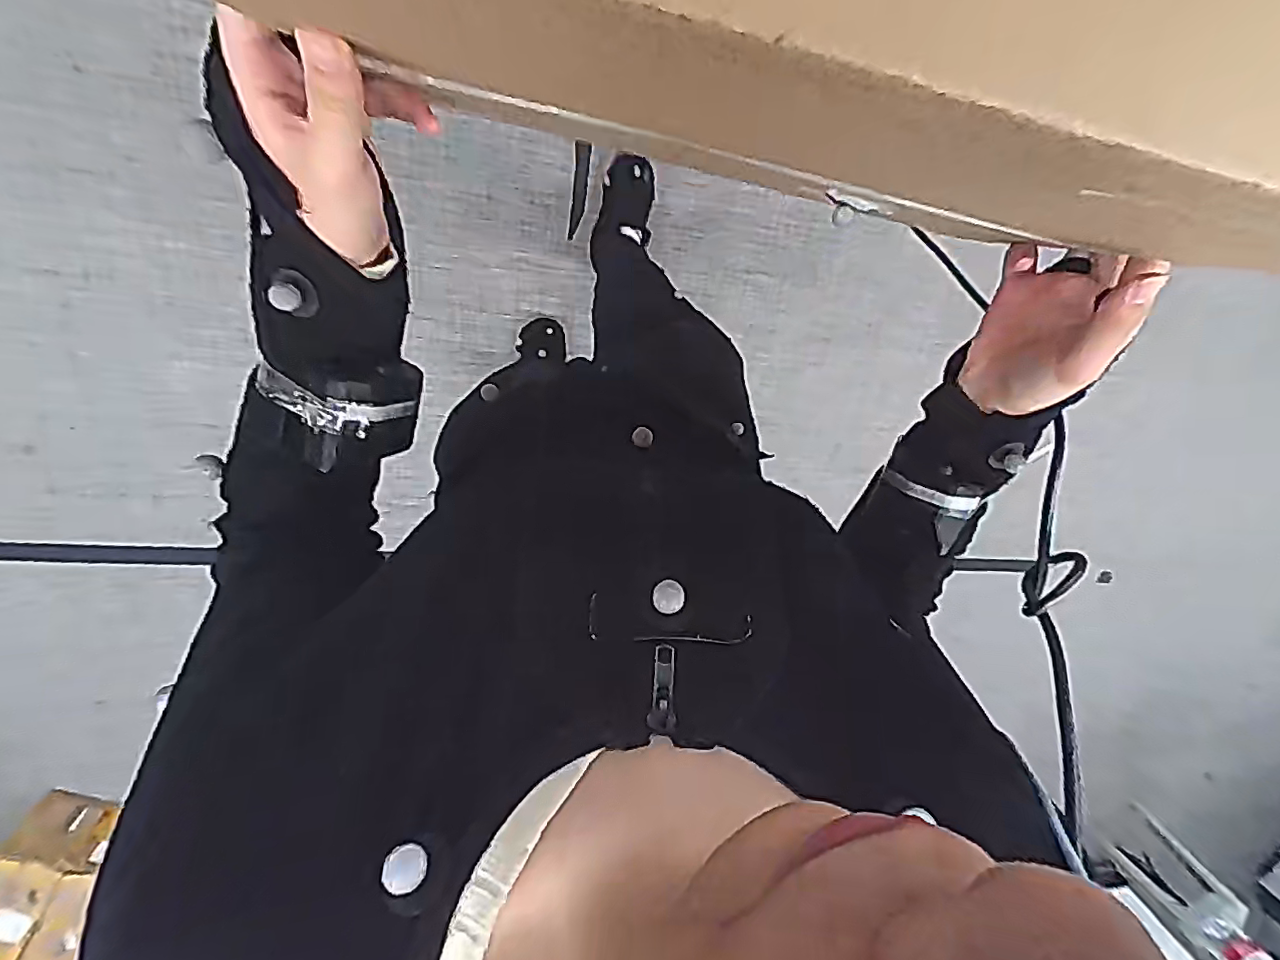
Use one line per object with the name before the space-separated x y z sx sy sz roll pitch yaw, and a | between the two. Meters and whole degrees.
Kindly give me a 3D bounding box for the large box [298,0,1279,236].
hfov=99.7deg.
large box | 0.088 -0.293 0.173 0.408 0.320 0.320 8 117 -10
